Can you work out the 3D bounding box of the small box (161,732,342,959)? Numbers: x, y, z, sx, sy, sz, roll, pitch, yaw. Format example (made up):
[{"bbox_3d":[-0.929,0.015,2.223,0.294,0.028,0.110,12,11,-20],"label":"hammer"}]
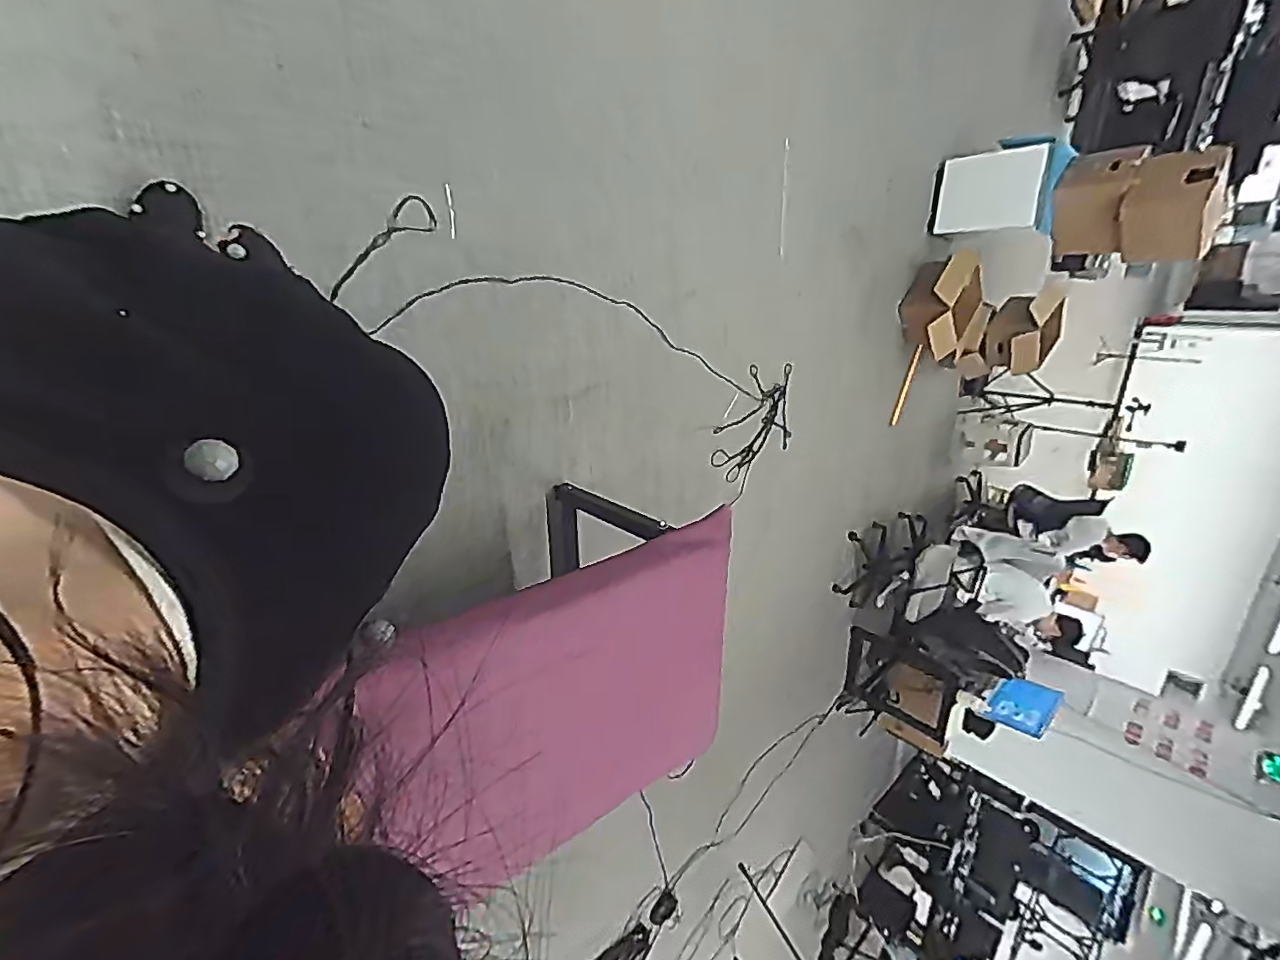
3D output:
[{"bbox_3d":[-0.495,0.481,0.713,0.179,0.176,0.168,-21,118,-38],"label":"small box"}]

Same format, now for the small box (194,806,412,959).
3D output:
[{"bbox_3d":[-0.376,0.524,0.608,0.179,0.176,0.168,-14,113,-41],"label":"small box"}]
